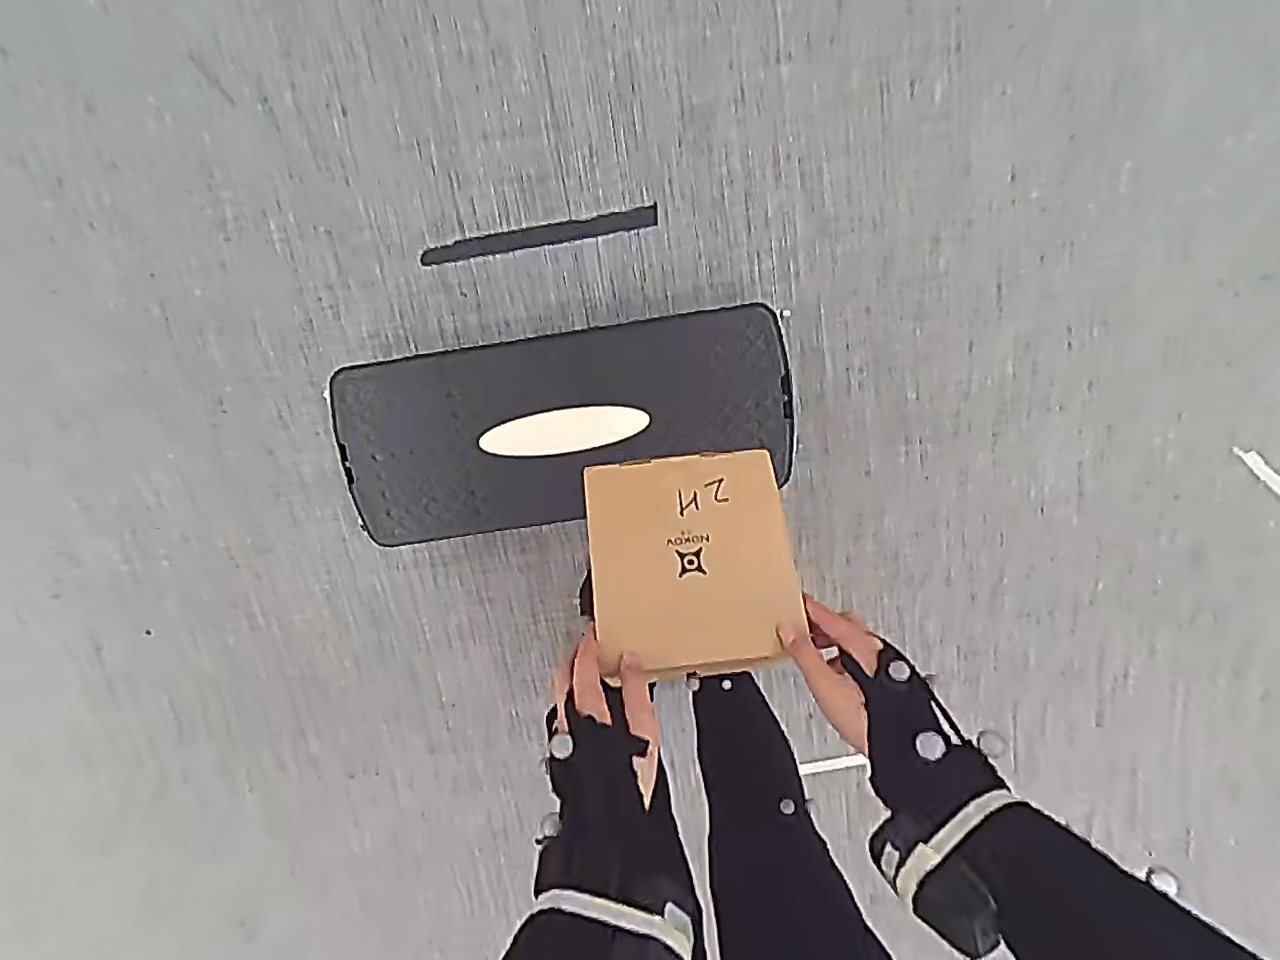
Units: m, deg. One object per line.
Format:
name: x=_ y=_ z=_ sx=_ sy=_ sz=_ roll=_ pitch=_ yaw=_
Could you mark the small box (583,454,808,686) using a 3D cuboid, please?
small box: x=0.040 y=0.095 z=0.508 sx=0.168 sy=0.176 sz=0.179 roll=-5 pitch=66 yaw=-3
